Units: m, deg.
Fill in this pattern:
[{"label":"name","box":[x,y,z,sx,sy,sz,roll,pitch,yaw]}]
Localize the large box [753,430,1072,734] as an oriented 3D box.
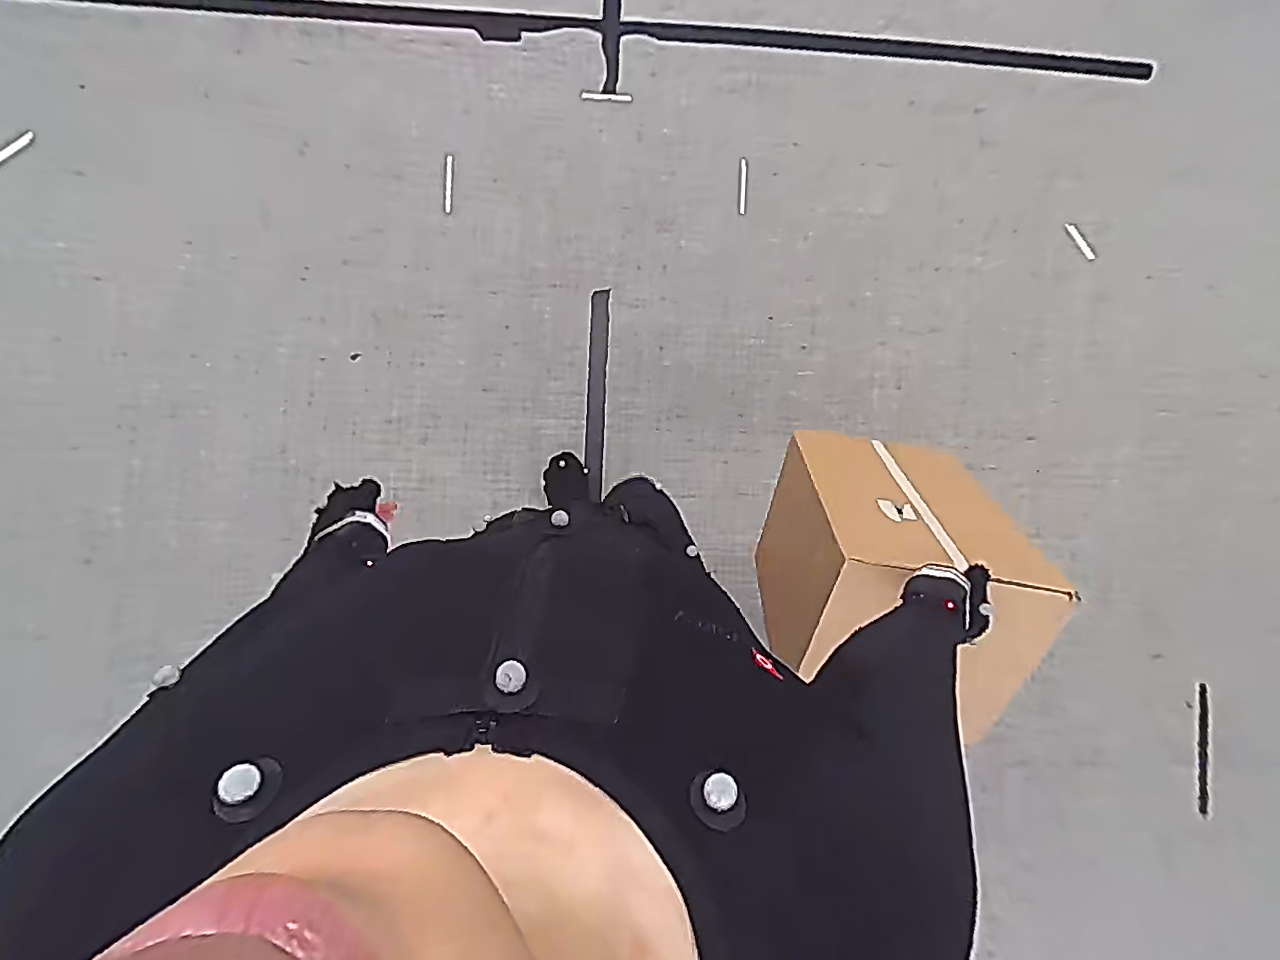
[{"label":"large box","box":[0.408,0.156,0.951,0.320,0.408,0.320,10,121,-1]}]
